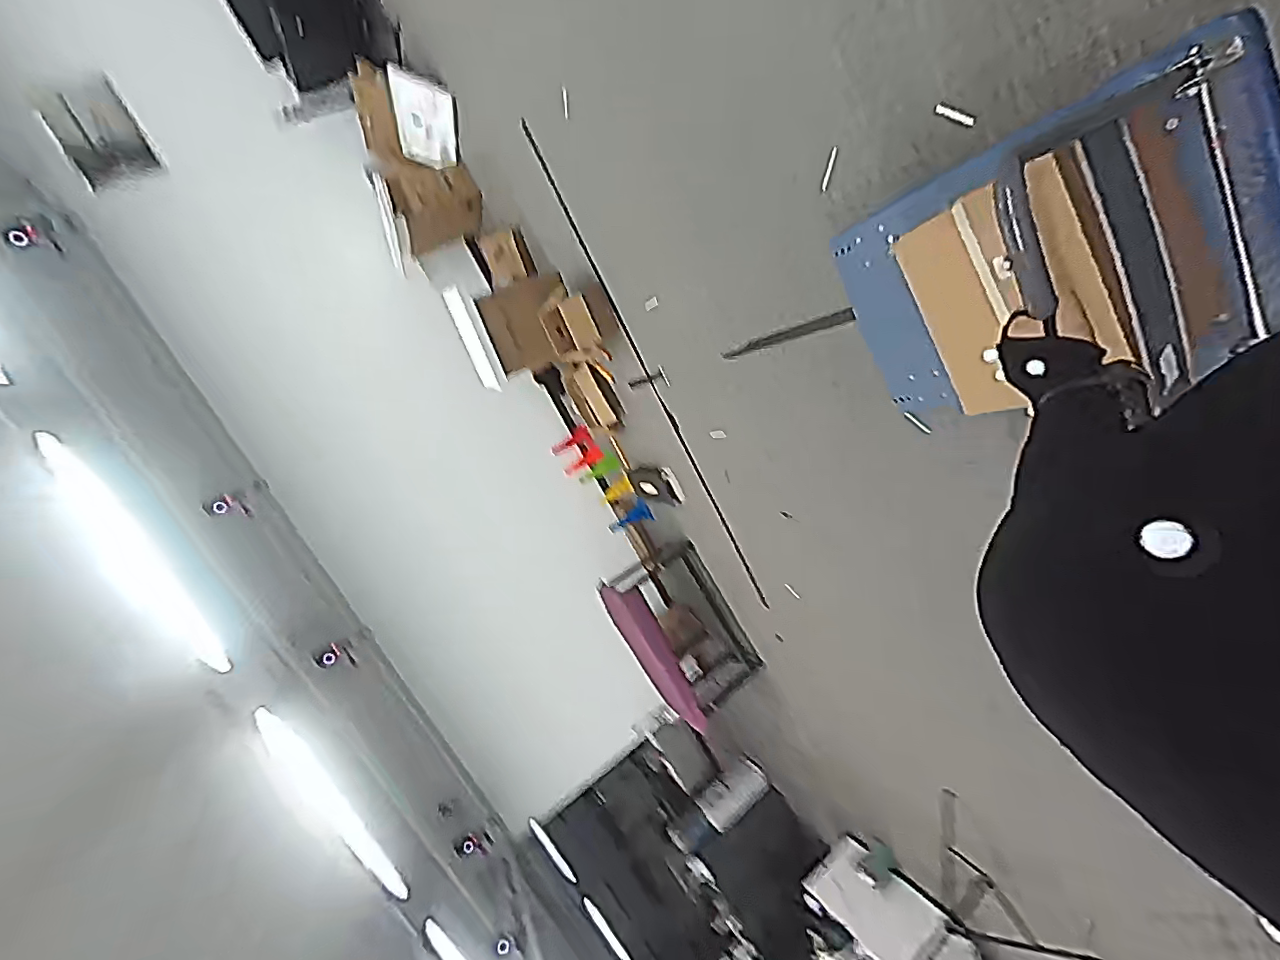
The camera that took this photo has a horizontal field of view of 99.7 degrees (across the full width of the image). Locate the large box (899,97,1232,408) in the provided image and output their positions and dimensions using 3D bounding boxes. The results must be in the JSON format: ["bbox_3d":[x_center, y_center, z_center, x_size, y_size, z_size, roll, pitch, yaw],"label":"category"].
[{"bbox_3d":[0.790,-0.401,1.026,0.408,0.320,0.320,62,160,-8],"label":"large box"}]
